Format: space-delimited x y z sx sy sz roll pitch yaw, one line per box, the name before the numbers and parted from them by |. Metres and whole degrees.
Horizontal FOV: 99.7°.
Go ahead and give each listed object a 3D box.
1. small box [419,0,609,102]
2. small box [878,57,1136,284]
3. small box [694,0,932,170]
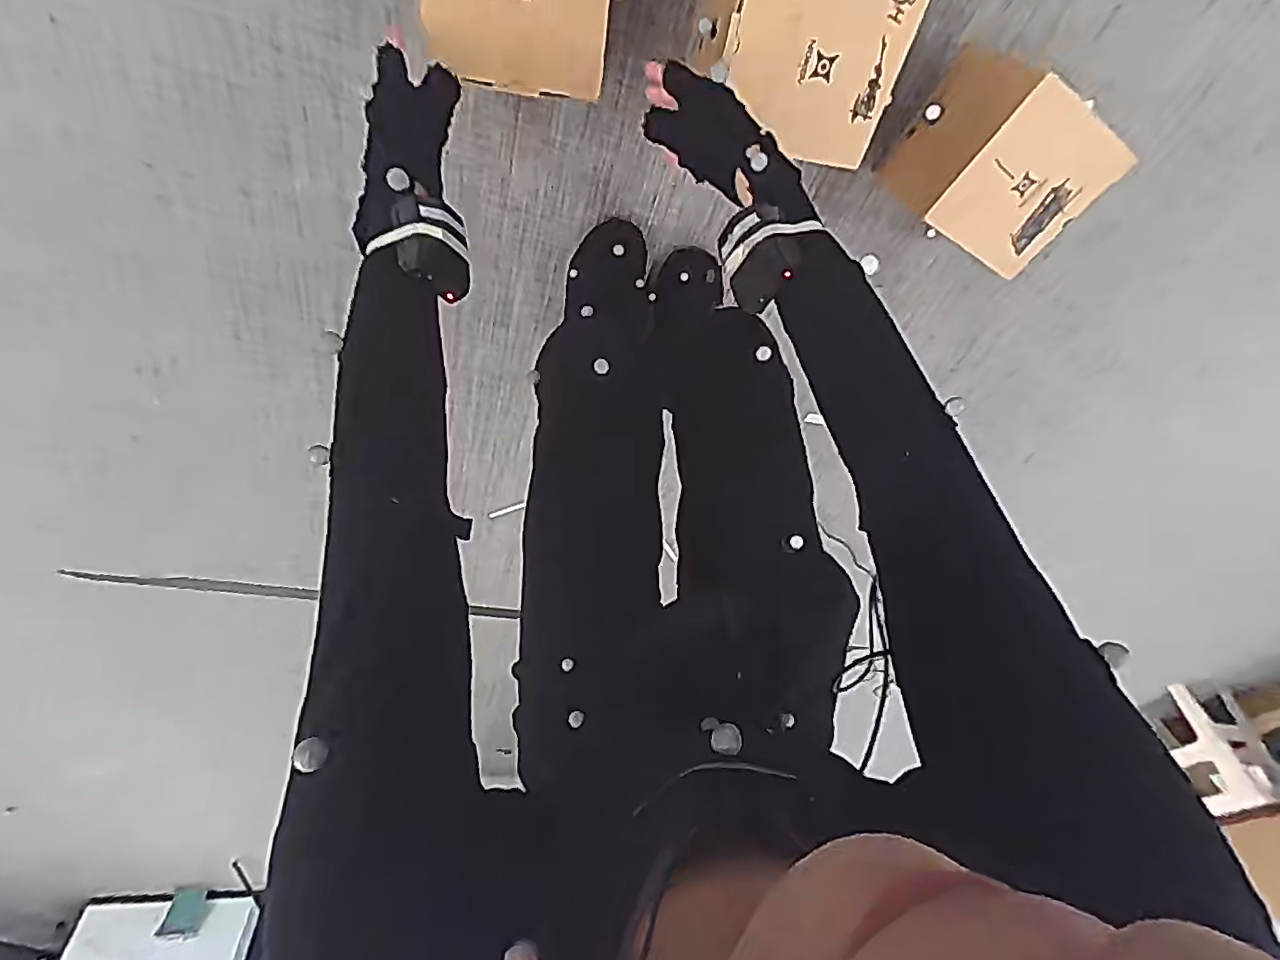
small box | -0.111 -0.490 0.510 0.168 0.176 0.179 2 135 -10
small box | 0.441 -0.388 0.677 0.179 0.176 0.168 19 131 -23
small box | 0.164 -0.458 0.572 0.179 0.176 0.168 5 136 -10
